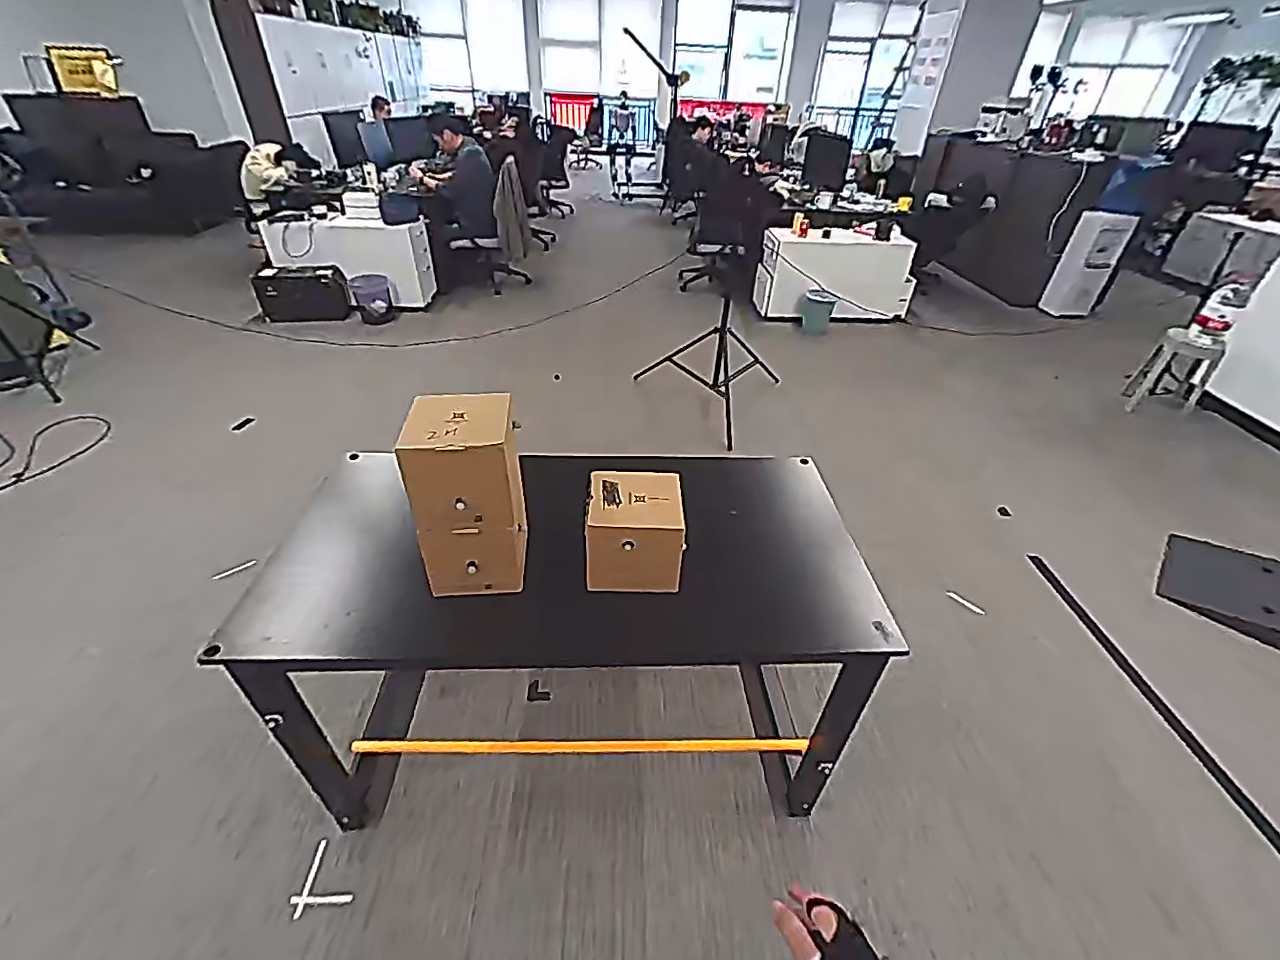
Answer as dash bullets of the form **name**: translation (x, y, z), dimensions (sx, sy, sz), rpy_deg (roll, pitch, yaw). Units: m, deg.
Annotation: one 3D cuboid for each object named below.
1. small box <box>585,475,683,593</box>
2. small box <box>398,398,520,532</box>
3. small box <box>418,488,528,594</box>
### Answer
- **small box**: translation (-0.012, 0.106, 1.063), dimensions (0.179, 0.176, 0.168), rpy_deg (1, 36, -2)
- **small box**: translation (-0.306, -0.029, 0.951), dimensions (0.168, 0.176, 0.179), rpy_deg (-4, 37, -7)
- **small box**: translation (-0.311, 0.107, 1.047), dimensions (0.168, 0.176, 0.179), rpy_deg (-3, 37, -6)
